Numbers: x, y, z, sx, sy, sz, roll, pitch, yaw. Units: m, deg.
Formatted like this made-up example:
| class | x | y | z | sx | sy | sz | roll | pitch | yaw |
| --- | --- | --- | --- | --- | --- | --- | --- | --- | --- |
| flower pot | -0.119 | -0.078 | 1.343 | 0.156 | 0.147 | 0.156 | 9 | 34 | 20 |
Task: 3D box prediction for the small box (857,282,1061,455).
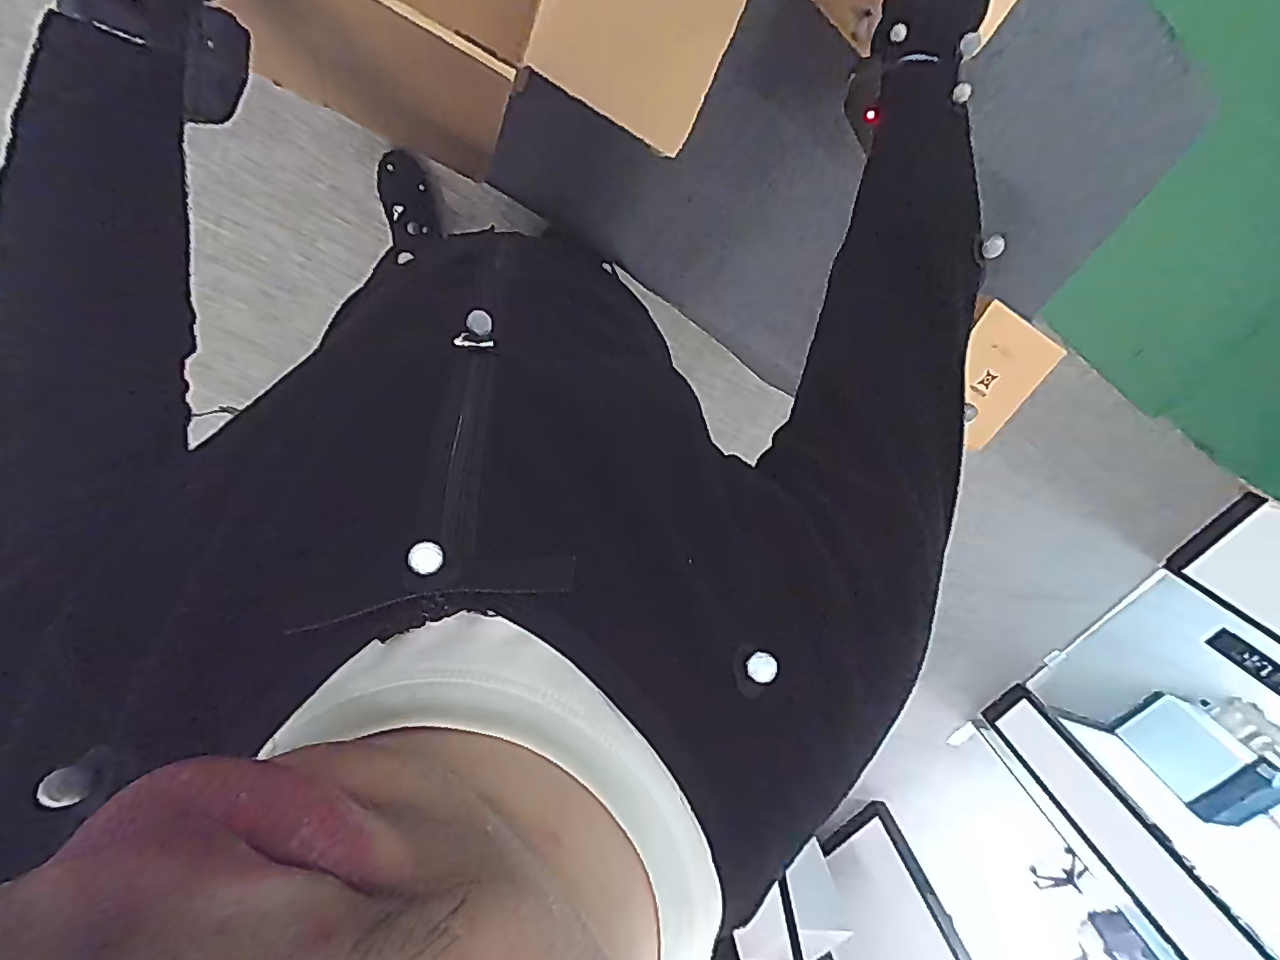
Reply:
| class | x | y | z | sx | sy | sz | roll | pitch | yaw |
| --- | --- | --- | --- | --- | --- | --- | --- | --- | --- |
| small box | 0.462 | -0.172 | 0.819 | 0.168 | 0.176 | 0.179 | 21 | 114 | -23 |
